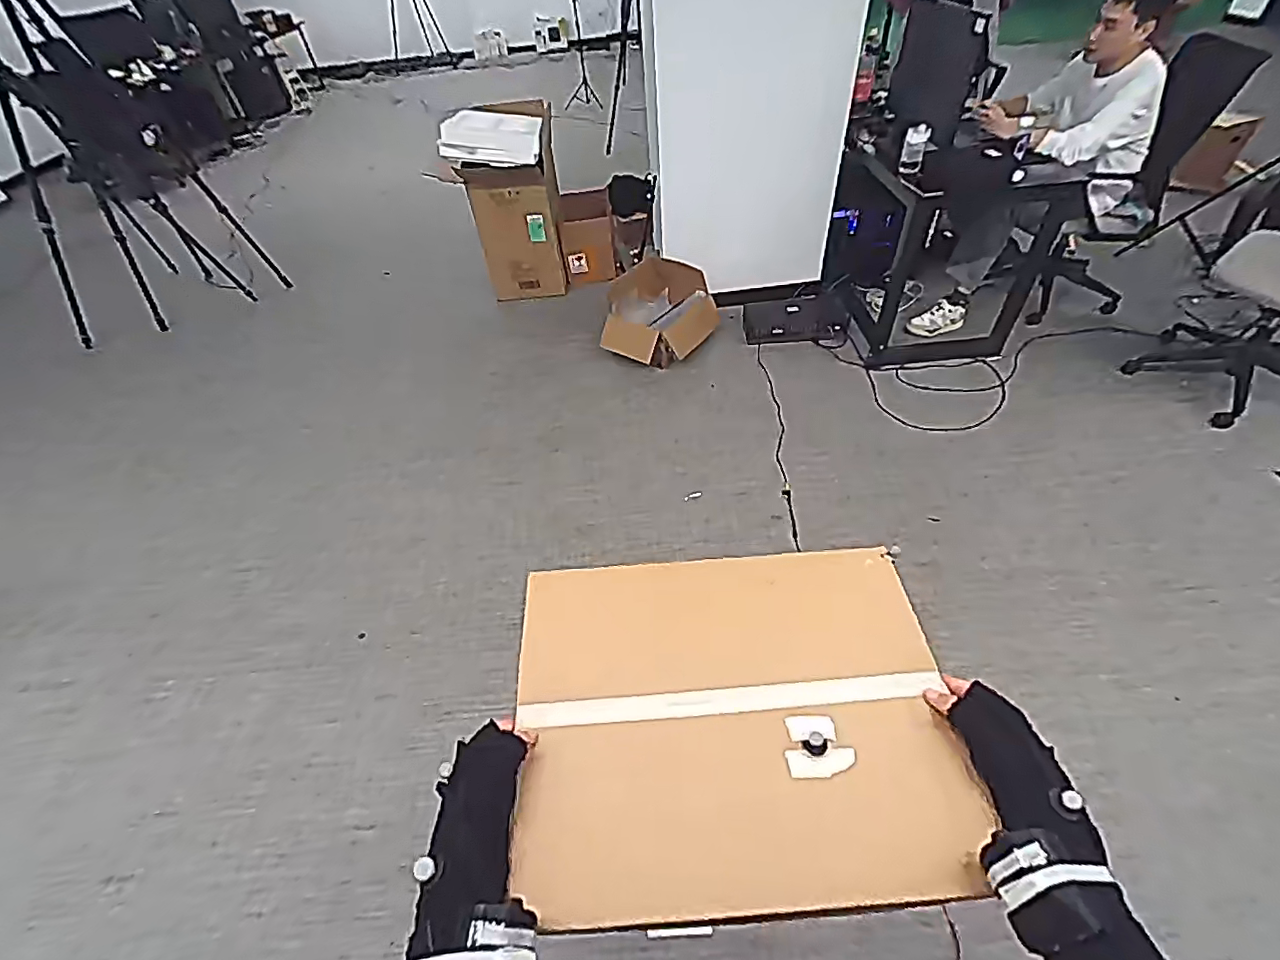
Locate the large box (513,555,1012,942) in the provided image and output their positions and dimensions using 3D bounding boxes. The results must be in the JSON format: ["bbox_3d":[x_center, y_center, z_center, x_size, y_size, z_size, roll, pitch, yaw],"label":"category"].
[{"bbox_3d":[0.091,0.314,0.628,0.408,0.320,0.320,-4,49,-1],"label":"large box"}]
